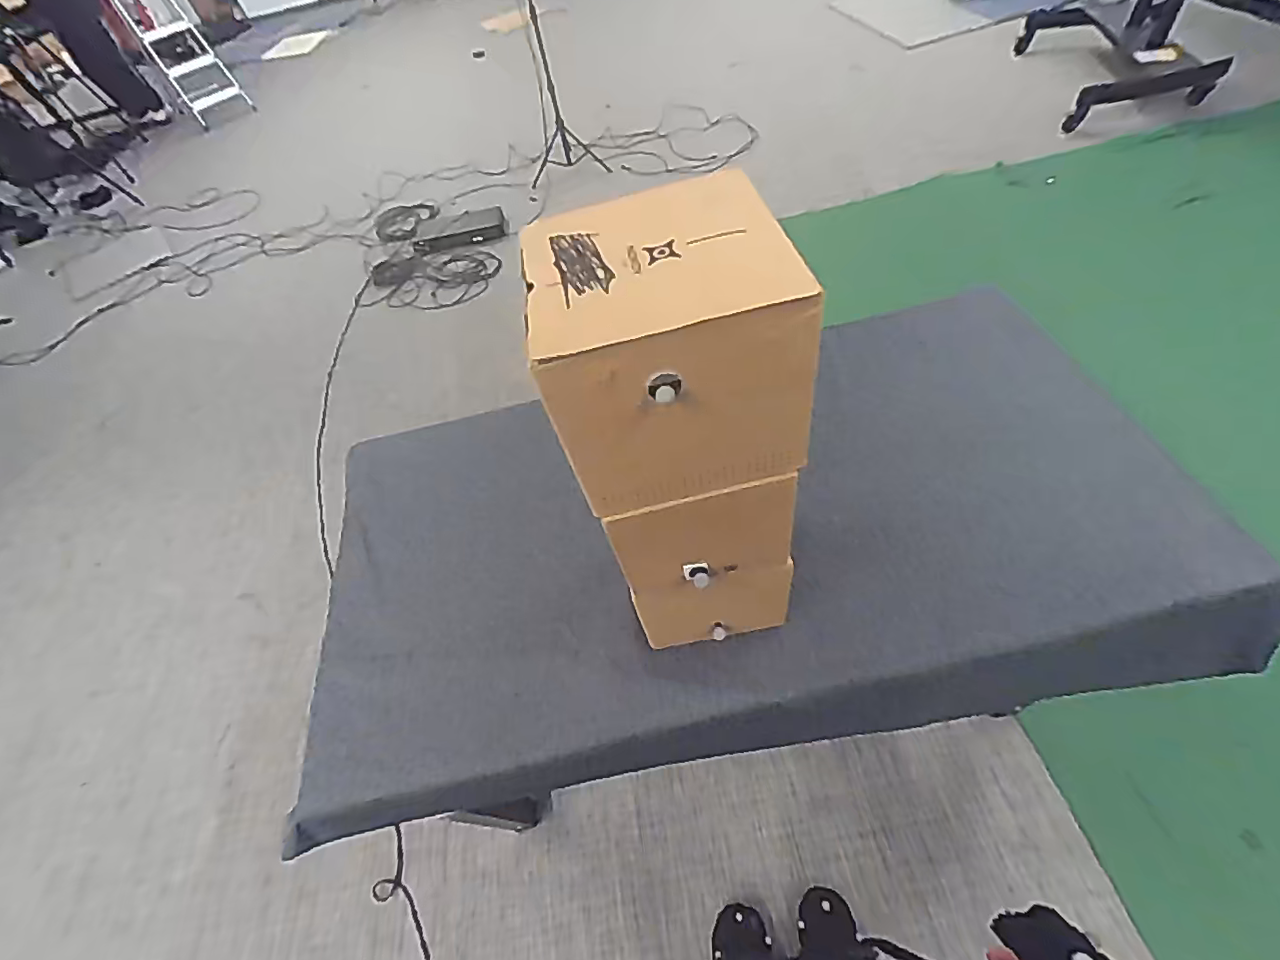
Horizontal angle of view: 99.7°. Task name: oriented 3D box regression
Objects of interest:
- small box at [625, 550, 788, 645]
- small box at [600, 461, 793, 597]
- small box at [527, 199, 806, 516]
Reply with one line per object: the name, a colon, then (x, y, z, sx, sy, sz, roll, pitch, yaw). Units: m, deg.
small box: (0.071, 0.092, 0.686, 0.179, 0.176, 0.168, -12, 53, 1)
small box: (0.045, -0.005, 0.558, 0.168, 0.176, 0.179, -14, 54, 2)
small box: (0.020, -0.089, 0.440, 0.179, 0.176, 0.168, -13, 53, 2)
